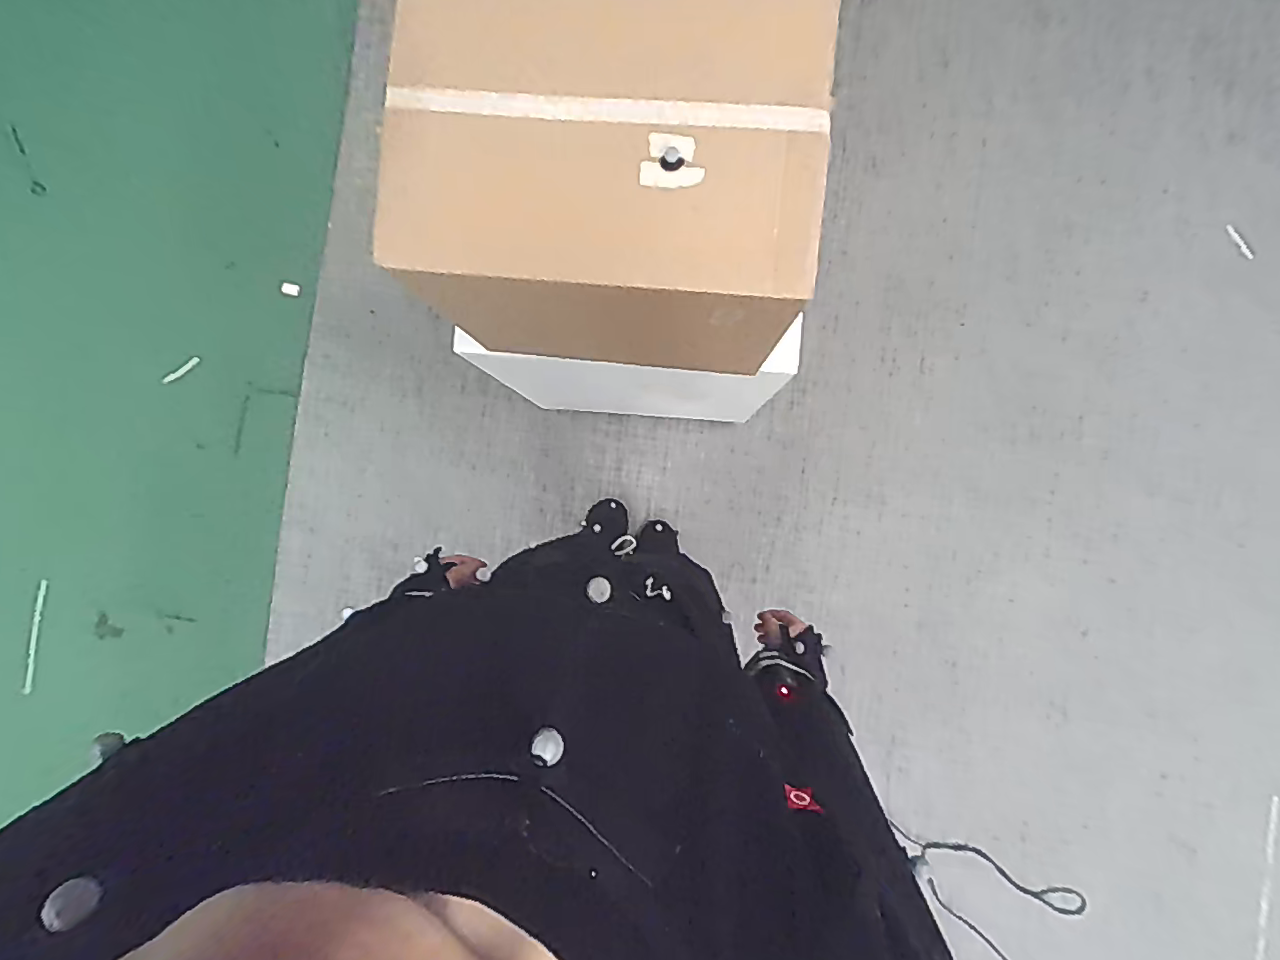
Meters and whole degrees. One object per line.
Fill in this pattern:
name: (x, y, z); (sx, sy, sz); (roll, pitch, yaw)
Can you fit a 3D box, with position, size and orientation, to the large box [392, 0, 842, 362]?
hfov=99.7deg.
large box: (-0.019, -0.338, 0.645); (0.408, 0.320, 0.320); (5, 90, 2)
